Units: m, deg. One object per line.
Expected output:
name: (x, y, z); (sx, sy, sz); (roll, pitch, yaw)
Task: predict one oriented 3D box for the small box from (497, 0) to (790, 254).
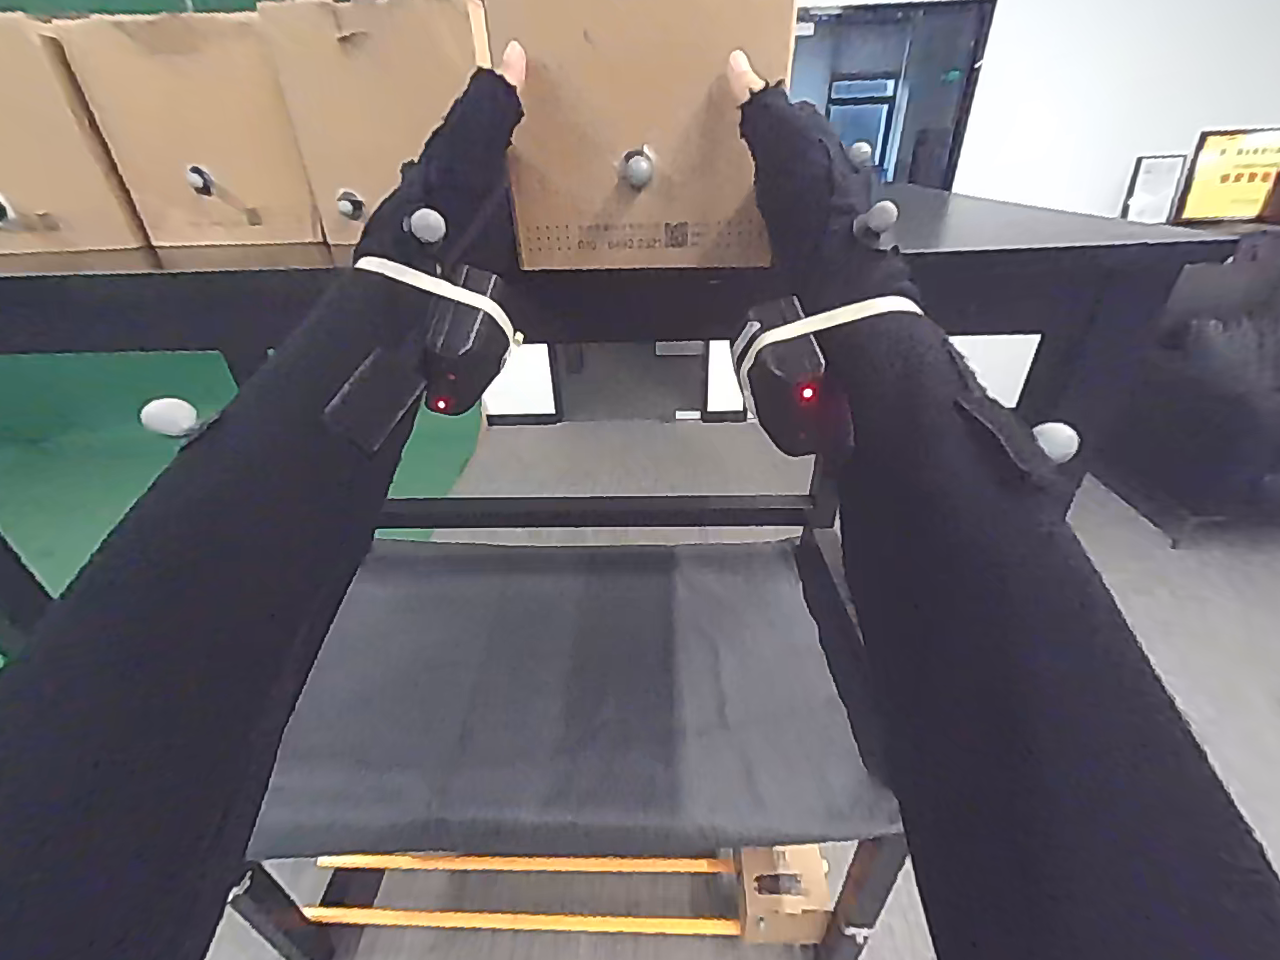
small box: (0.007, -0.263, 0.382); (0.168, 0.176, 0.179); (1, 32, 6)
